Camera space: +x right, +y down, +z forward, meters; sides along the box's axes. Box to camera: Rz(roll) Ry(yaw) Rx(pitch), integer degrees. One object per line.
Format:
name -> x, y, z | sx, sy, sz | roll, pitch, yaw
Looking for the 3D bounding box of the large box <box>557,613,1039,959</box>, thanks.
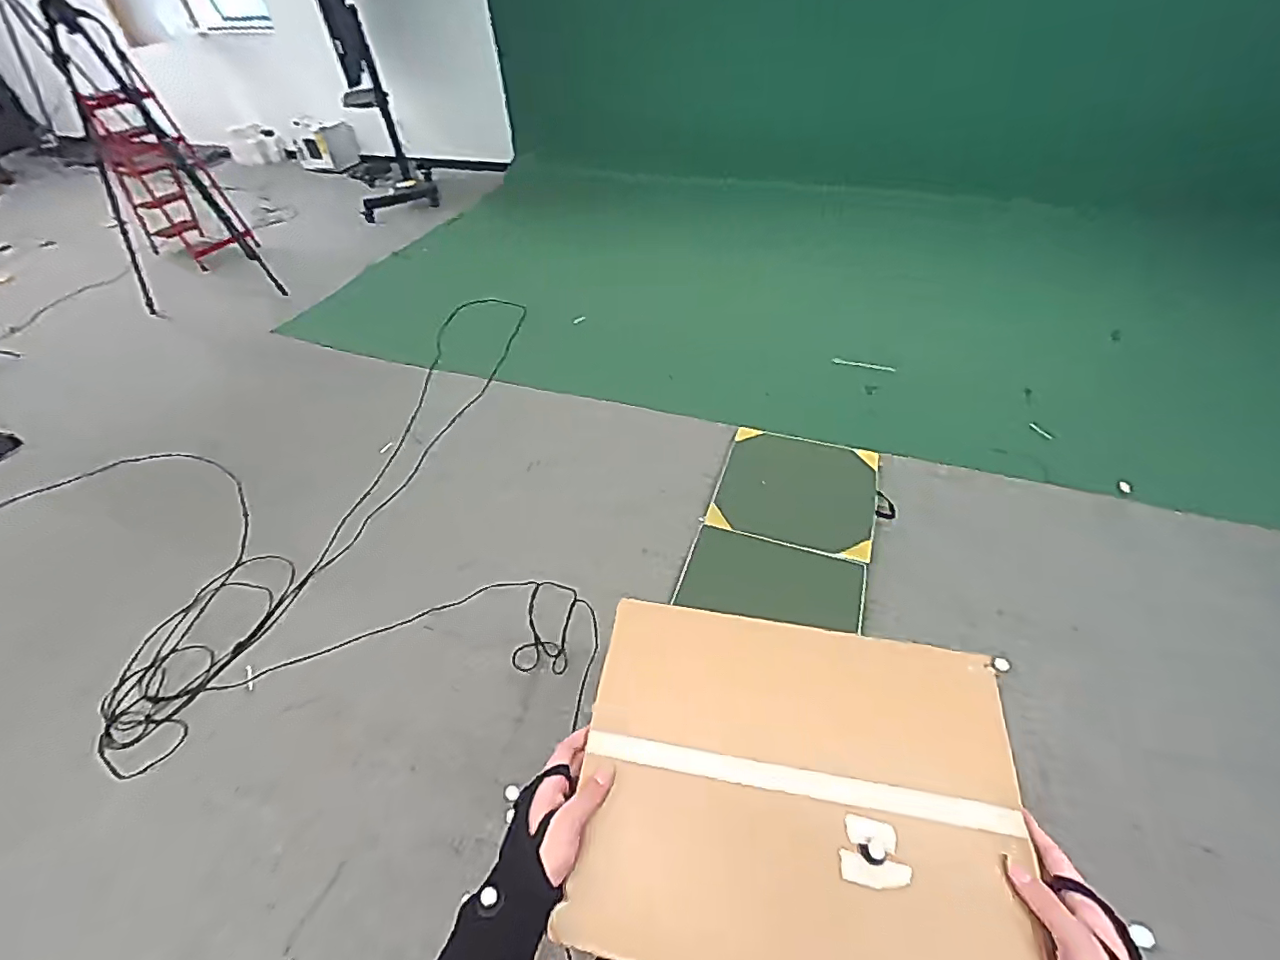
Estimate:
large box -> 0.150, 0.387, 0.639 | 0.408, 0.320, 0.320 | 7, 53, 8
